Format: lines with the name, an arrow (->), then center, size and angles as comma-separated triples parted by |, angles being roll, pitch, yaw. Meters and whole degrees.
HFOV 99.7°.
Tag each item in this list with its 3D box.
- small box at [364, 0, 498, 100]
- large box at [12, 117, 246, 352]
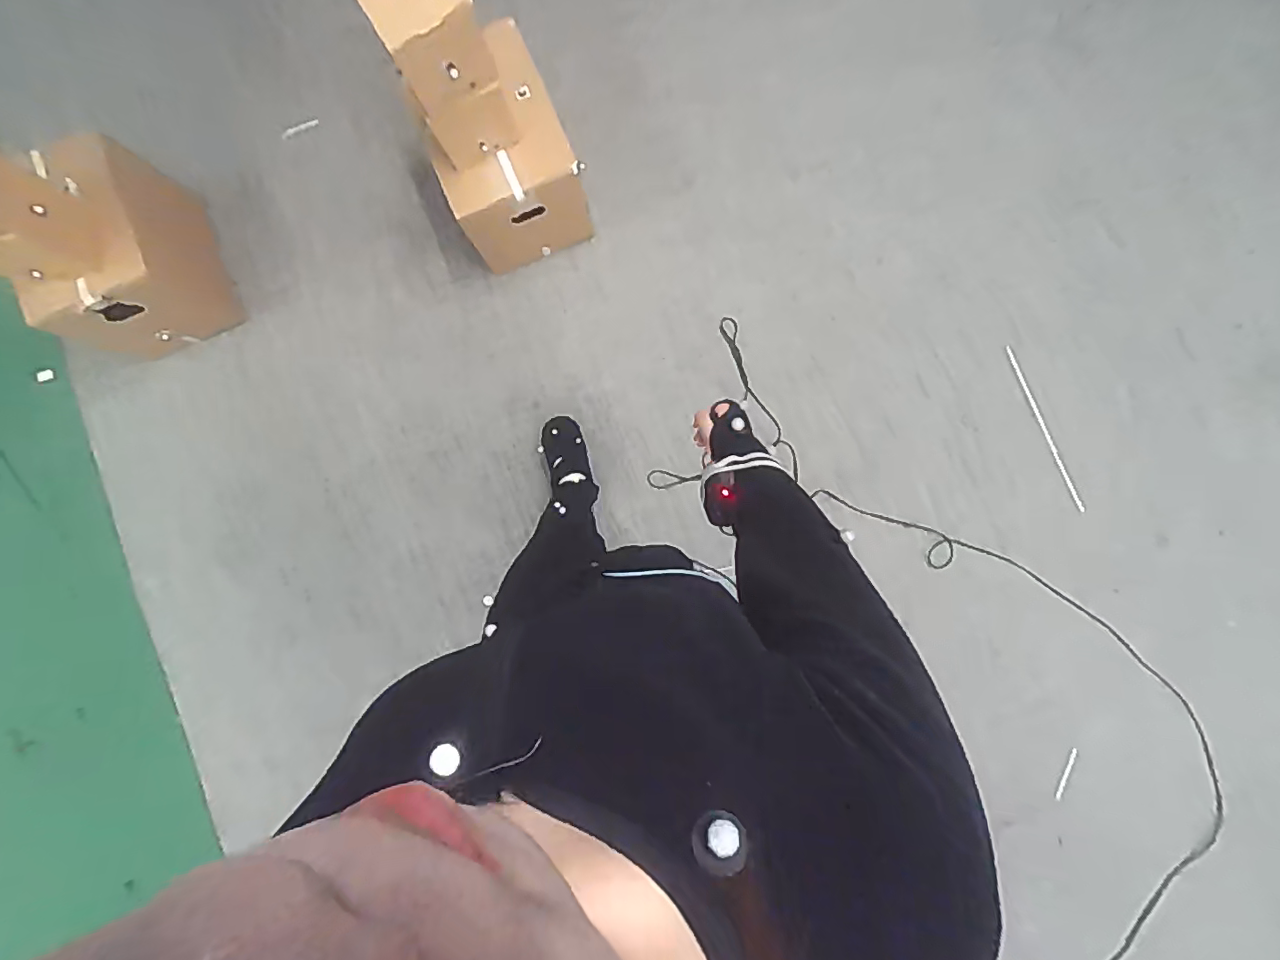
small box -> -0.385, -0.841, 0.982 | 0.168, 0.176, 0.179 | -31, 88, 2
large box -> -1.344, -0.610, 1.414 | 0.320, 0.320, 0.408 | -22, 86, 1
